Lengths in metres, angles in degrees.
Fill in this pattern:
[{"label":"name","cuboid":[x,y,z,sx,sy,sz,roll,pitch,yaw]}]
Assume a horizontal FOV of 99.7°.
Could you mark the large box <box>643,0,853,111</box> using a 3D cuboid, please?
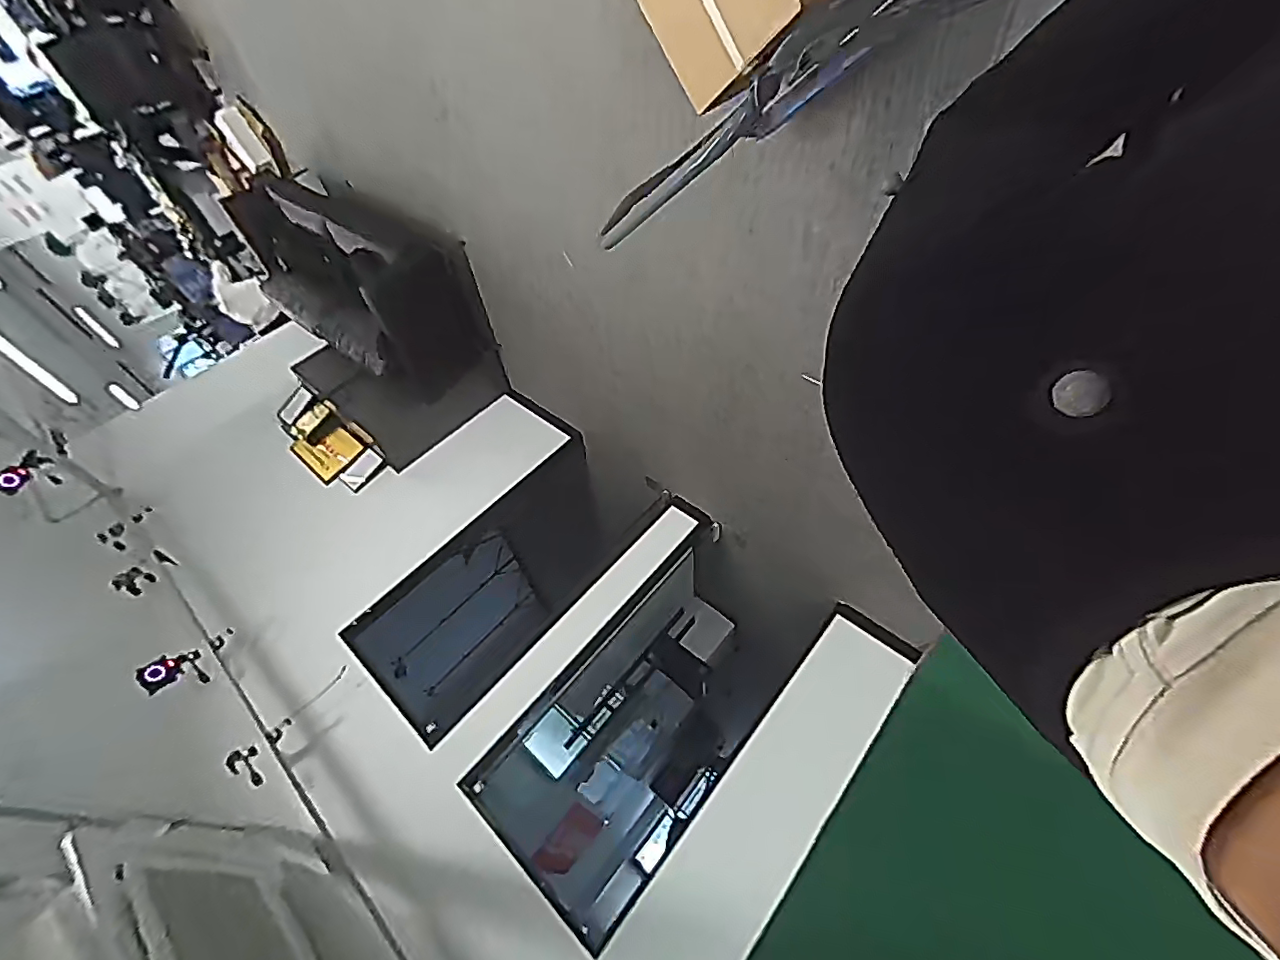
[{"label":"large box","cuboid":[0.209,-1.074,1.087,0.408,0.320,0.320,56,154,-16]}]
